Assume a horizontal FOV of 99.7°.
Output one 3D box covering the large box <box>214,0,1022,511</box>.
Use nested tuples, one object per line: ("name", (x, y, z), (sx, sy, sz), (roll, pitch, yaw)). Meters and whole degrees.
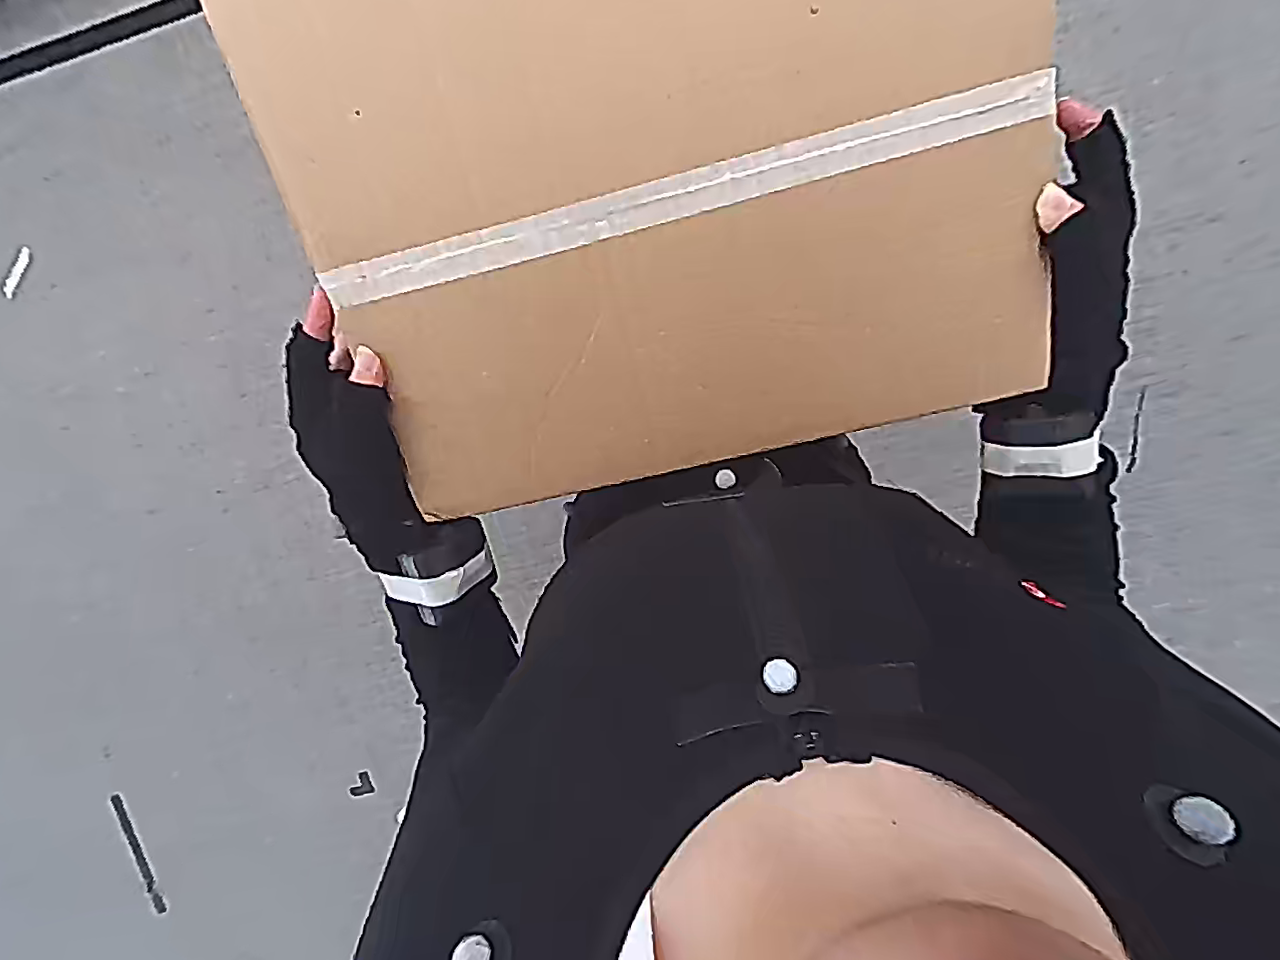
("large box", (0.011, -0.214, 0.444), (0.408, 0.320, 0.320), (-12, 110, 5))
